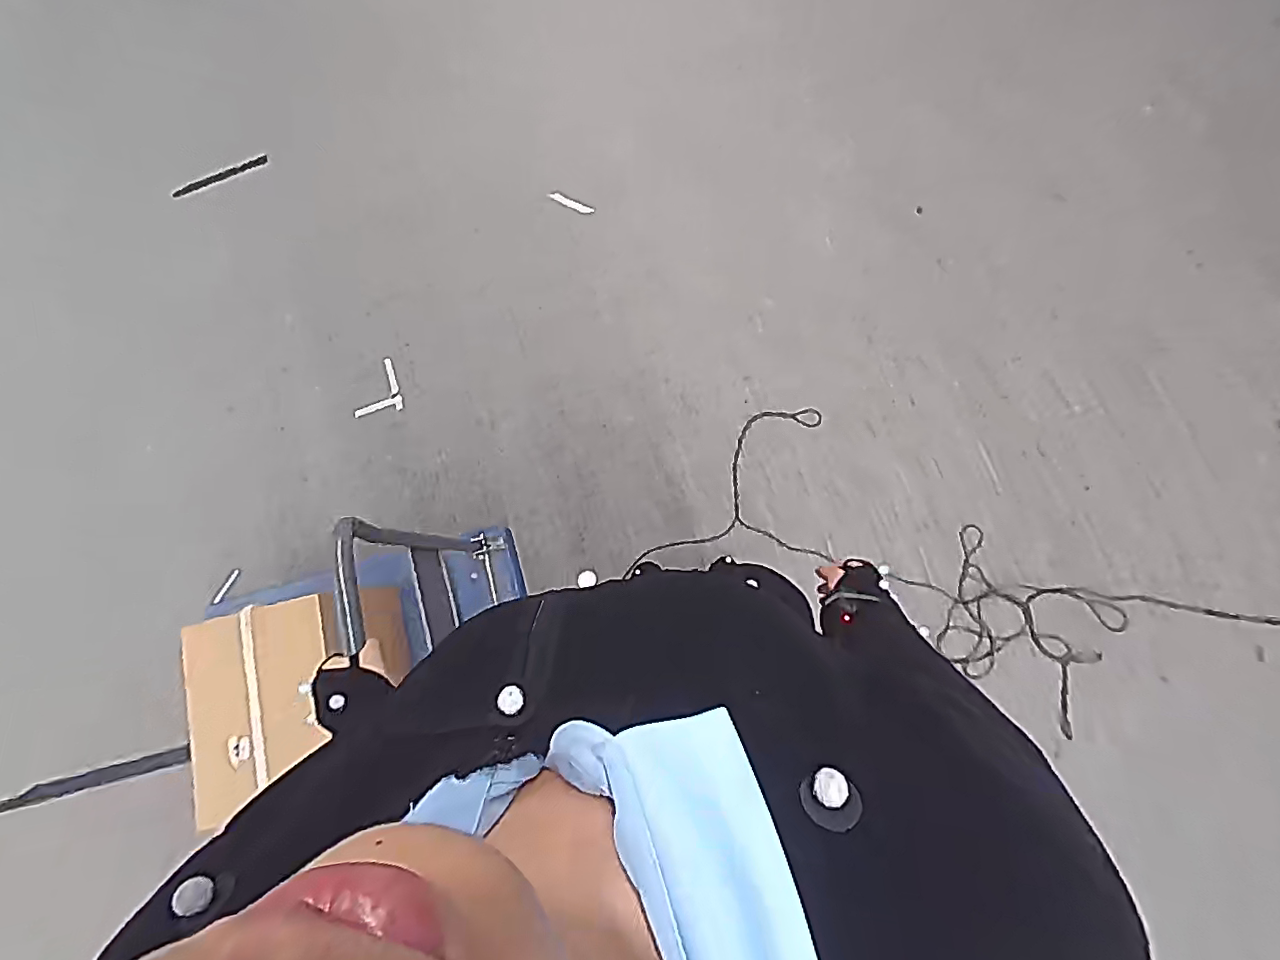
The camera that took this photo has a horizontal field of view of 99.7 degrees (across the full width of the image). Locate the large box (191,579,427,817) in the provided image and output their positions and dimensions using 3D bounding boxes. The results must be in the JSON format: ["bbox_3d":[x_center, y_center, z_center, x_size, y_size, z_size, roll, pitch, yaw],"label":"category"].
[{"bbox_3d":[-0.733,0.463,1.238,0.320,0.320,0.408,-14,81,5],"label":"large box"}]
